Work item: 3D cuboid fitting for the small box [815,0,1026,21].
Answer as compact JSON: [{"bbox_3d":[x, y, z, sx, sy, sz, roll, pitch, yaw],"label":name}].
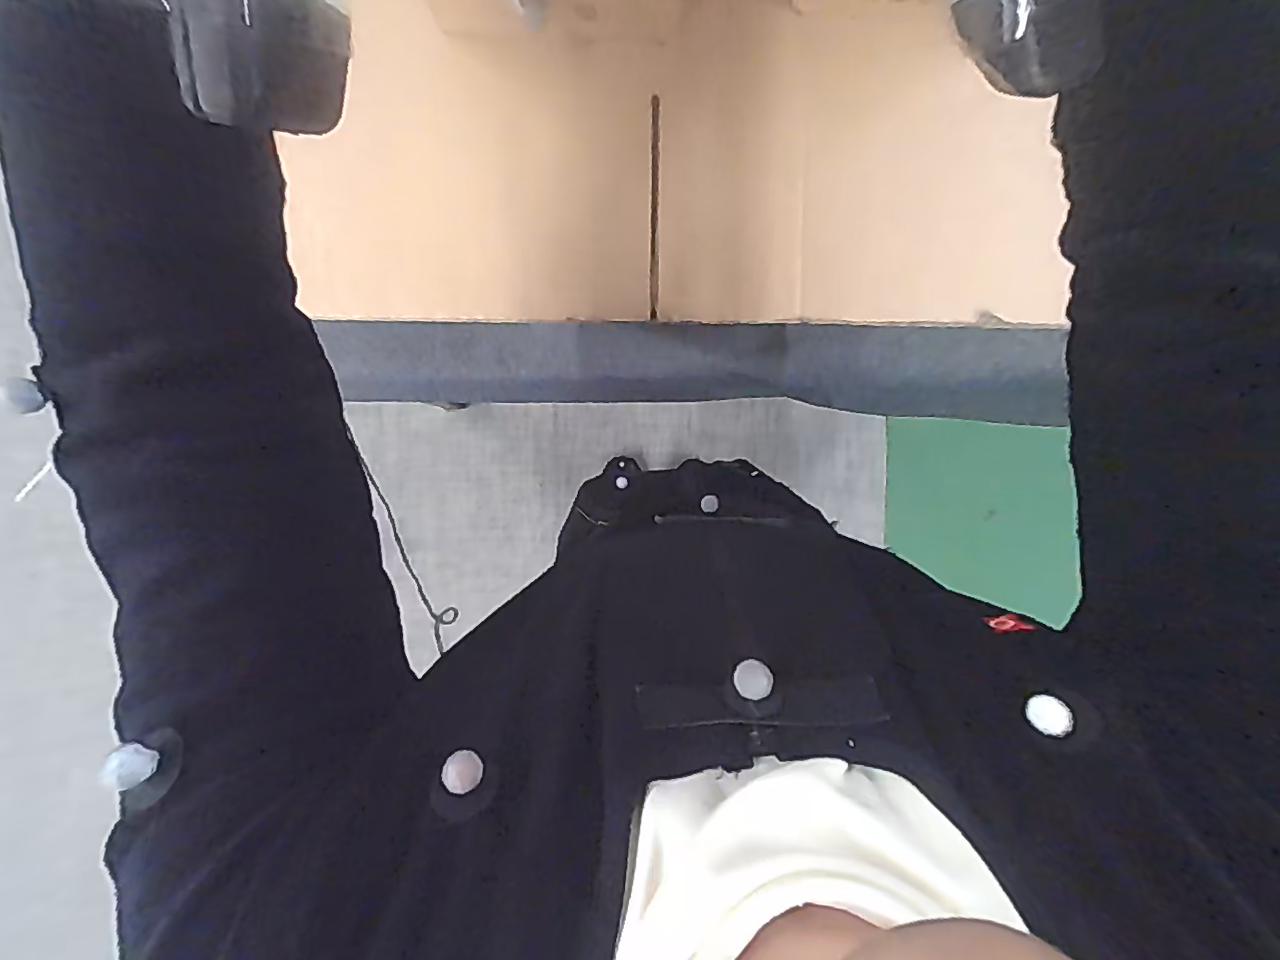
[{"bbox_3d":[0.192,-0.408,0.291,0.168,0.176,0.179,2,93,-2],"label":"small box"}]
